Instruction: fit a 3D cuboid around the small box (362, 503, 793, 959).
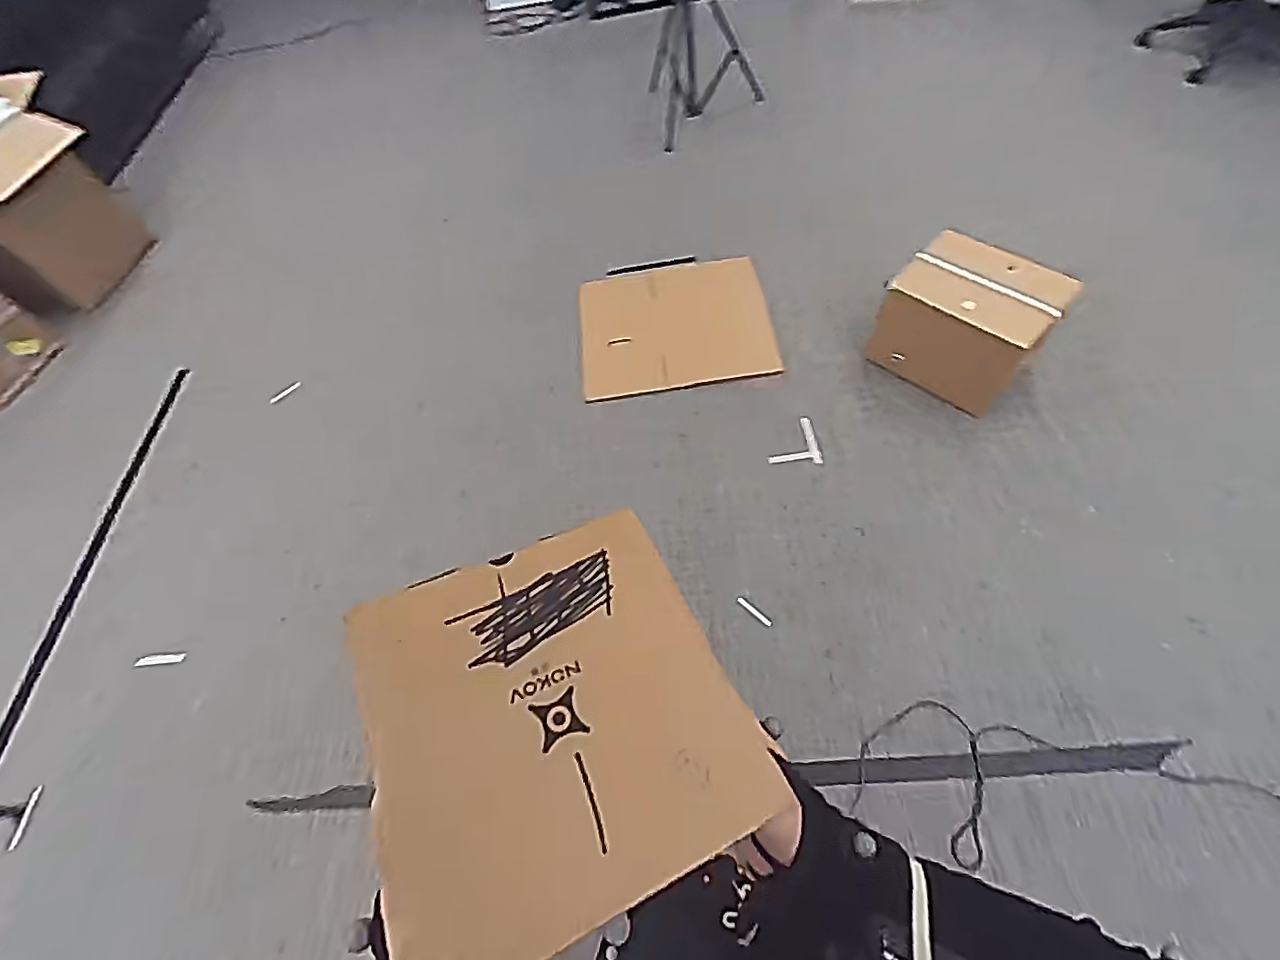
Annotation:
[{"bbox_3d":[-0.045,0.147,0.327,0.168,0.176,0.179,-18,58,-18],"label":"small box"}]
